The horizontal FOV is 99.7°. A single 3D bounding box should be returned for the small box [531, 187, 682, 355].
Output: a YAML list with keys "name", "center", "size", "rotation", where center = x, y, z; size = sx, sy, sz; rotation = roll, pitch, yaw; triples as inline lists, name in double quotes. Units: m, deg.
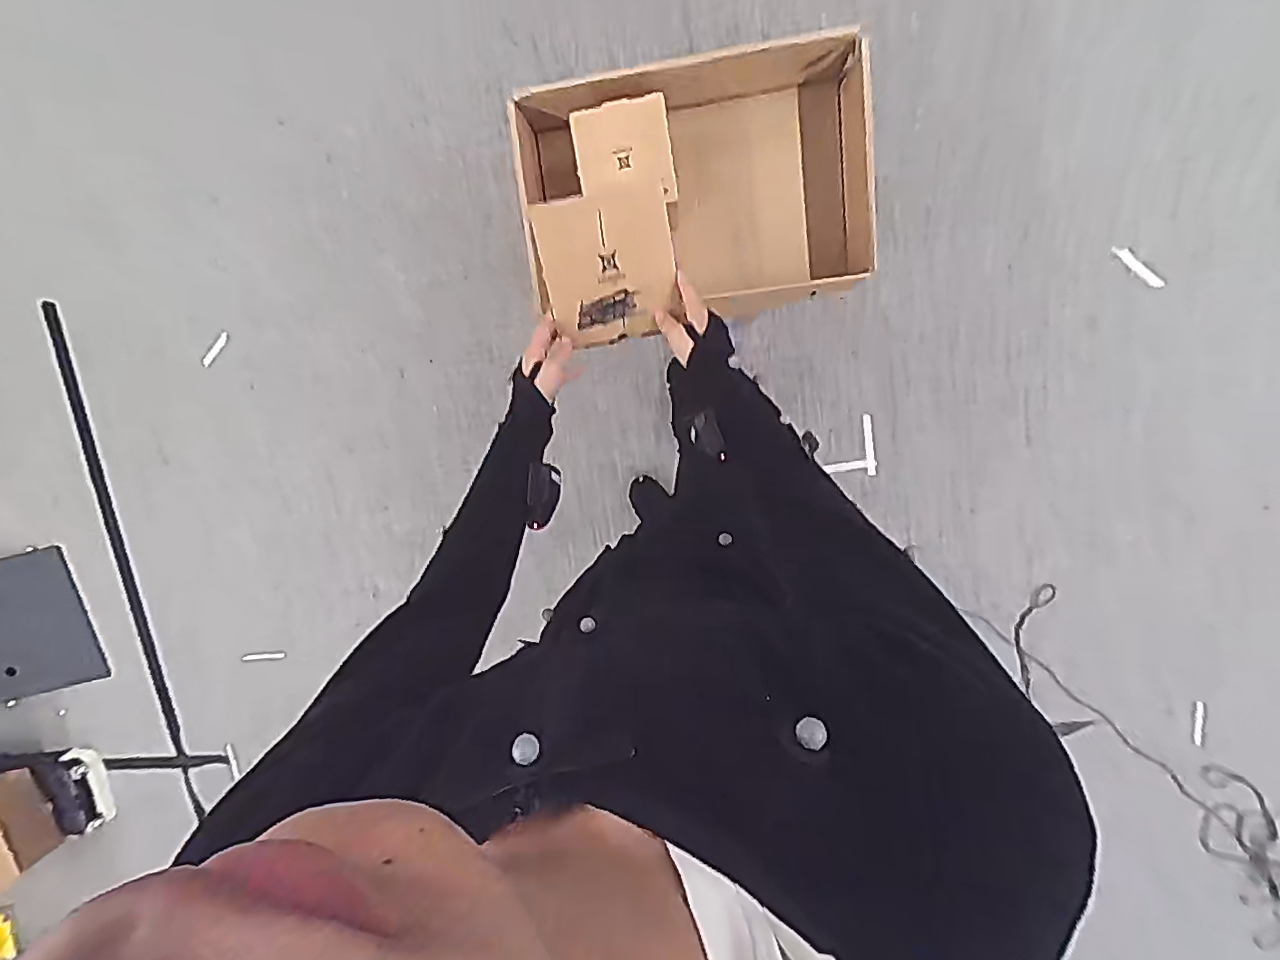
- name: "small box"
  center: [-0.036, -0.287, 0.749]
  size: [0.168, 0.176, 0.179]
  rotation: [-10, 112, 4]

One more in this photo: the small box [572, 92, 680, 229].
- name: "small box"
  center: [-0.018, -0.571, 1.008]
  size: [0.168, 0.176, 0.179]
  rotation: [-8, 99, 7]
